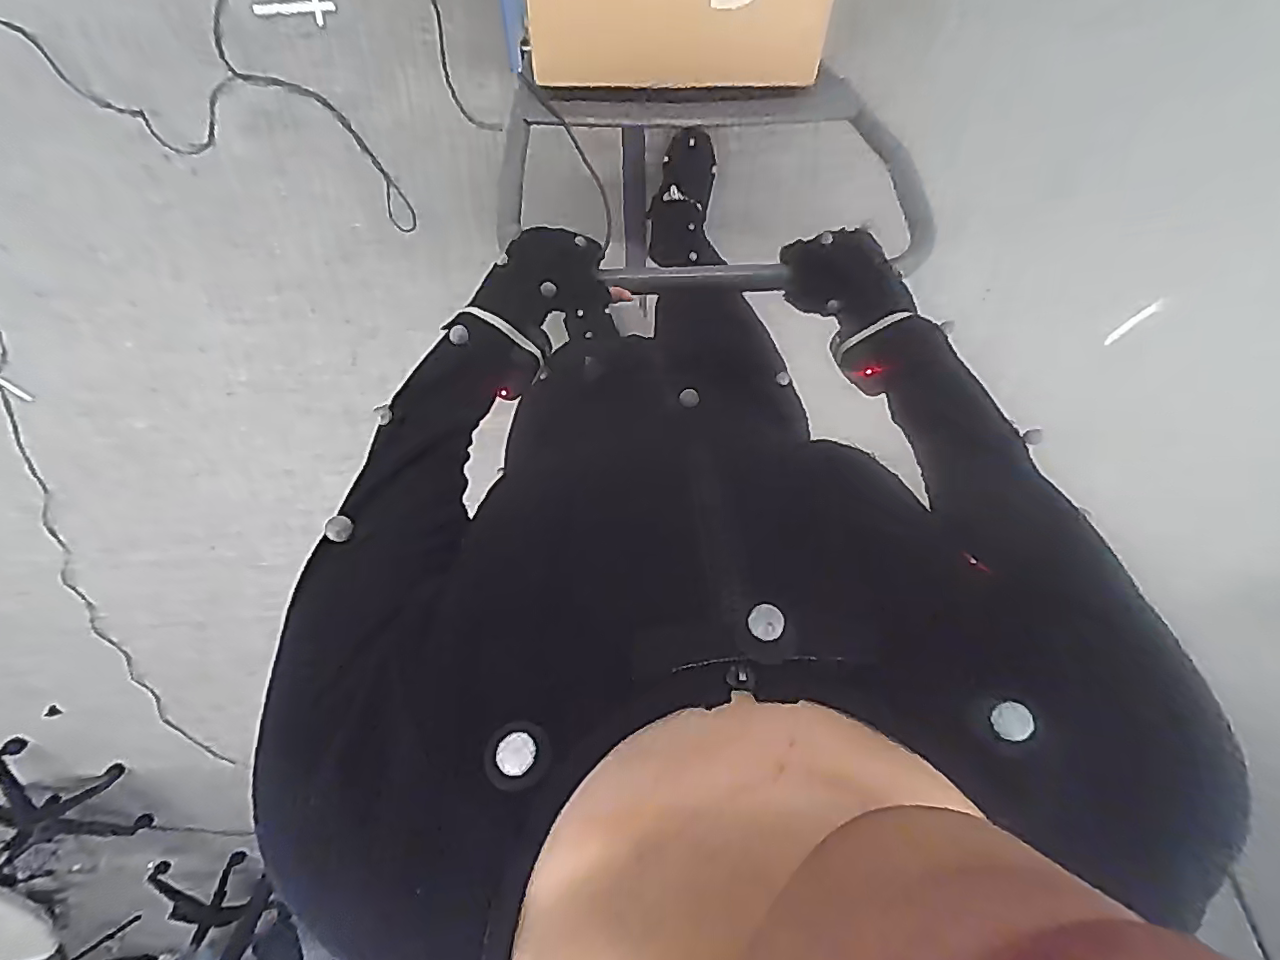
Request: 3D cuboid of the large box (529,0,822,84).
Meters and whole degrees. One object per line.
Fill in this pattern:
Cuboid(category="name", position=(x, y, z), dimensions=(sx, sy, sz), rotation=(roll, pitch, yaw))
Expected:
Cuboid(category="large box", position=(0.037, -0.796, 0.772), dimensions=(0.408, 0.320, 0.320), rotation=(-3, 139, -3))
